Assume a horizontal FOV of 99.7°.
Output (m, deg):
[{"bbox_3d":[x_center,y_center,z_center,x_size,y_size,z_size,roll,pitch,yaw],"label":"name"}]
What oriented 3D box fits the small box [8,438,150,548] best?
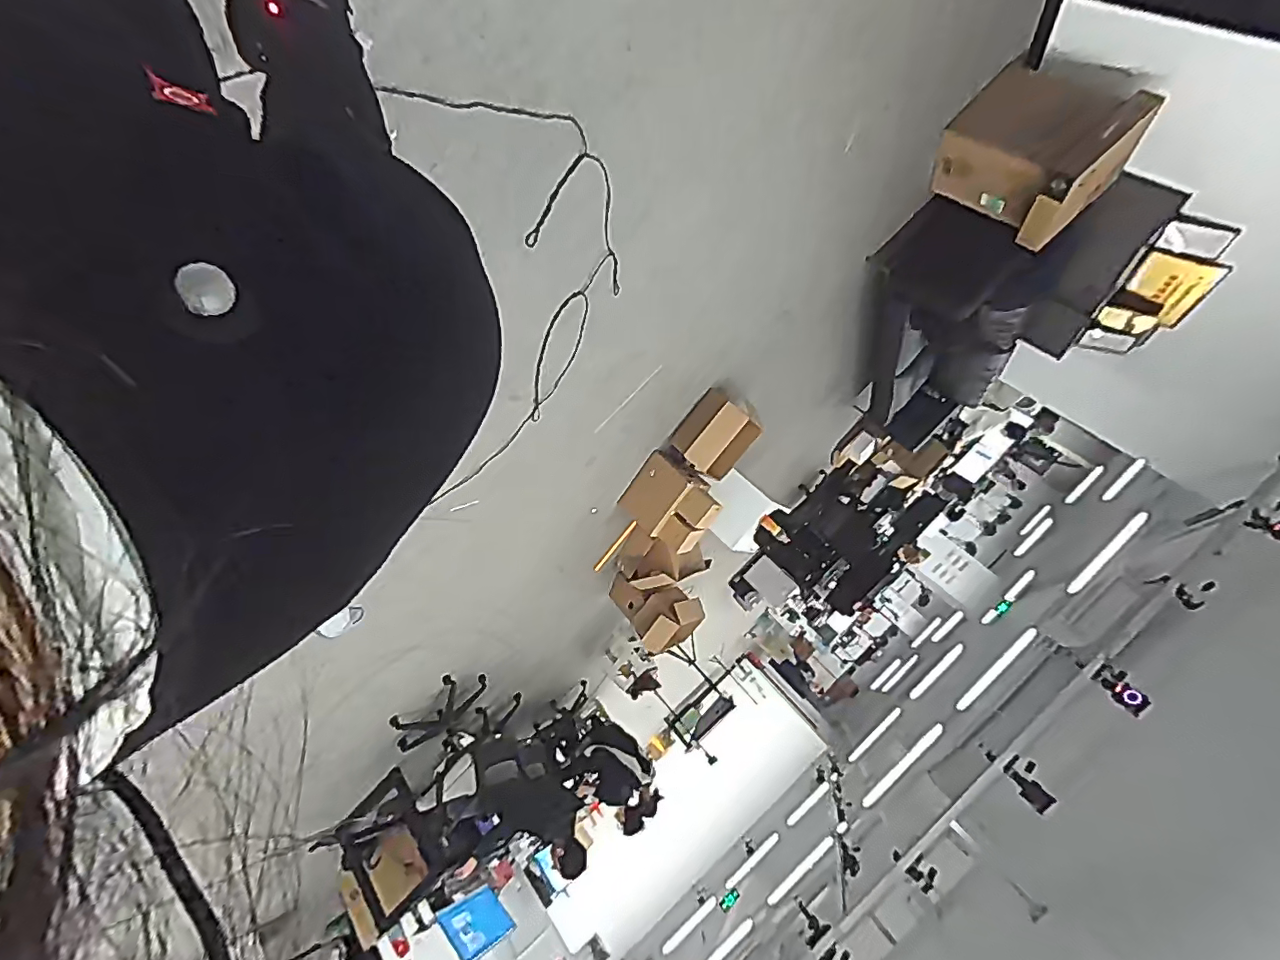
[{"bbox_3d":[-1.298,0.031,1.248,0.179,0.176,0.168,-48,154,6],"label":"small box"}]
